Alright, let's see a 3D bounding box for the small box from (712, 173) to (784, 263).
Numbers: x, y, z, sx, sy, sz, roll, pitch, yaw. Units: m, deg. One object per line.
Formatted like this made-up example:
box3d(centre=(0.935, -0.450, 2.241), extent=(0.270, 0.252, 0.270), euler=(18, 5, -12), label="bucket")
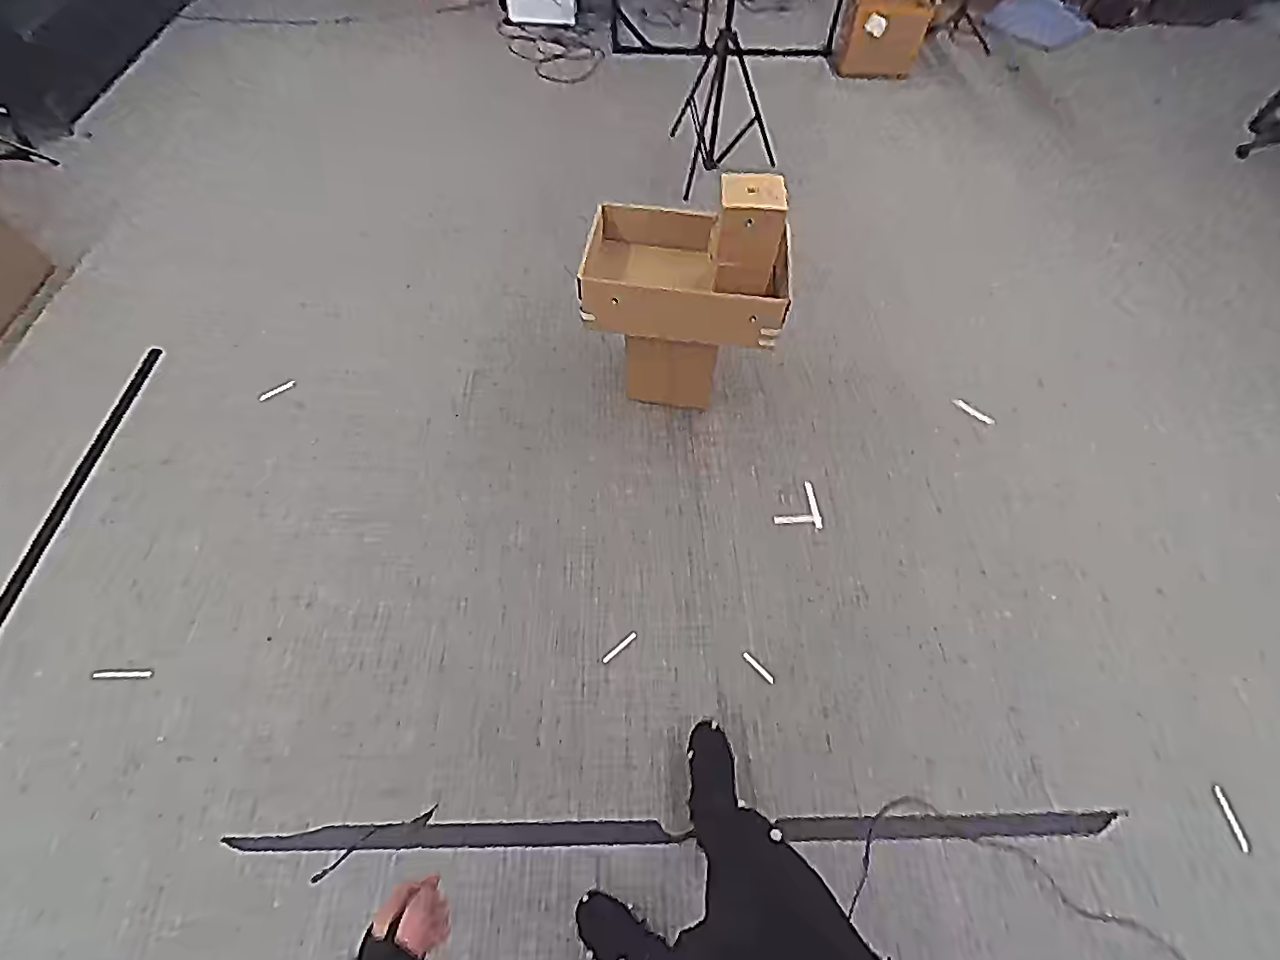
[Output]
box3d(centre=(0.296, -0.732, 1.518), extent=(0.179, 0.176, 0.168), euler=(4, 58, 2), label="small box")
